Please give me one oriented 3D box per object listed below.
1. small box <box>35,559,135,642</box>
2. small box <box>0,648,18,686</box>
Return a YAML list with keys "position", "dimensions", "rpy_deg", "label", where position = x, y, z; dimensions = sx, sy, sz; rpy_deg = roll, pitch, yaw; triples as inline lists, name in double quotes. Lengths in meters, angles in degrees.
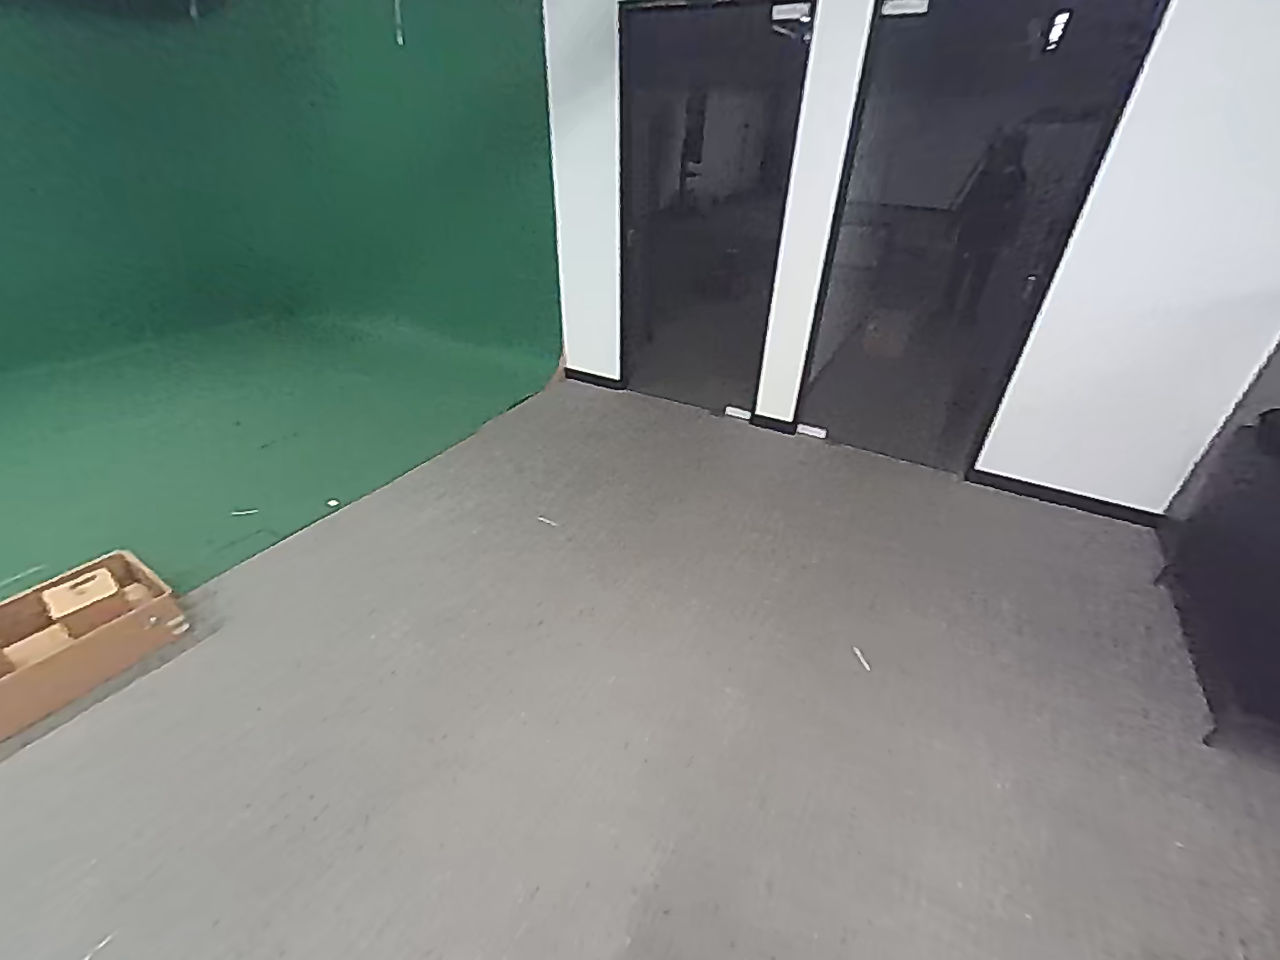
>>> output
- position: [-1.844, 0.404, 1.801]
  dimensions: [0.179, 0.176, 0.168]
  rpy_deg: [27, 41, 29]
  label: "small box"
- position: [-2.004, 0.544, 1.576]
  dimensions: [0.168, 0.176, 0.179]
  rpy_deg: [22, 39, 25]
  label: "small box"
